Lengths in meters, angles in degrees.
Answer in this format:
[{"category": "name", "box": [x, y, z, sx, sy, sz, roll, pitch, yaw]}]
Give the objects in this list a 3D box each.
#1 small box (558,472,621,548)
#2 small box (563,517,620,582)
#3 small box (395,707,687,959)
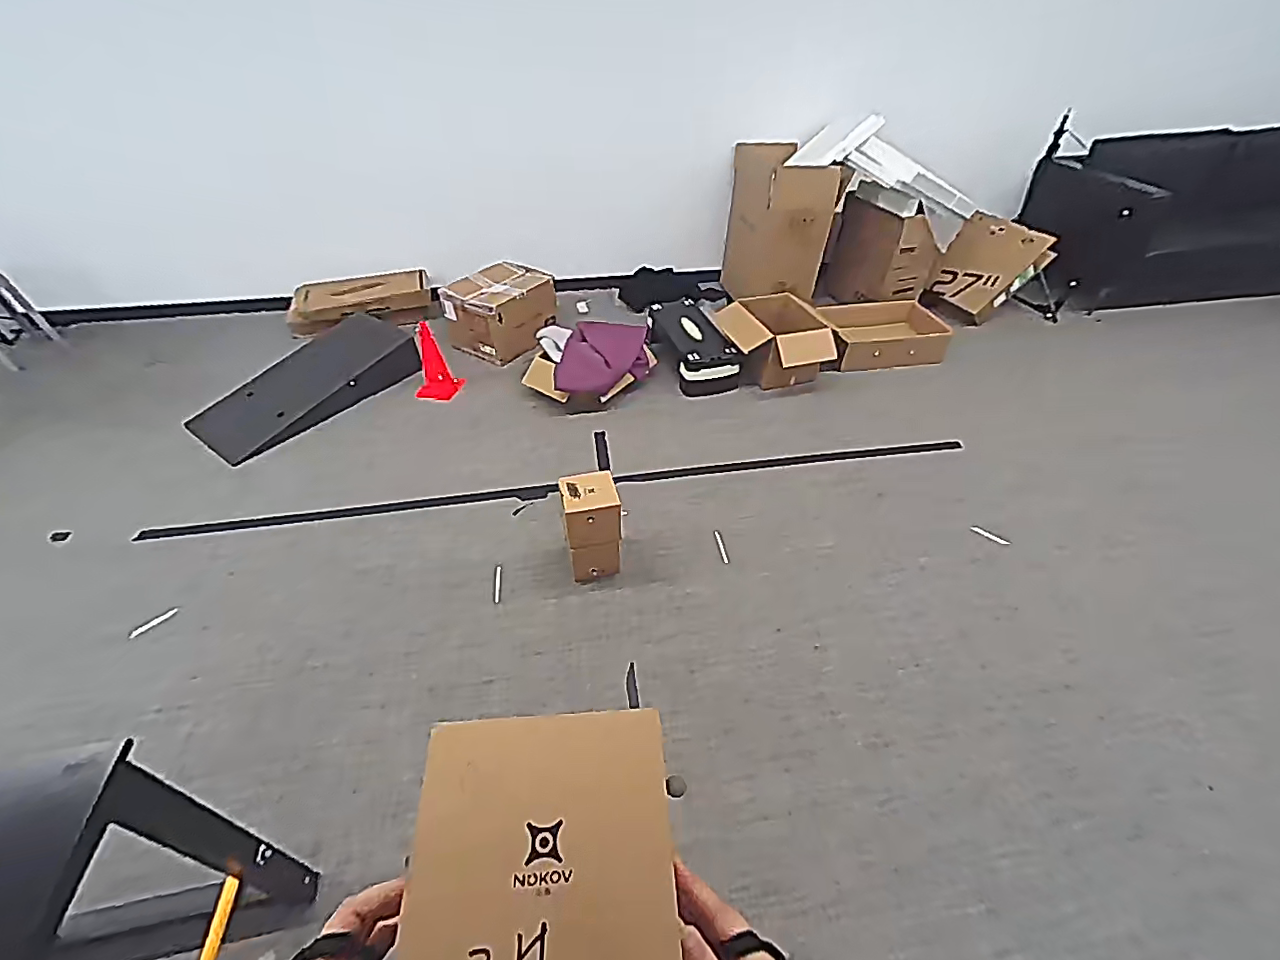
[{"category": "small box", "box": [-0.164, 0.101, 1.766, 0.179, 0.176, 0.168, -10, 44, -10]}, {"category": "small box", "box": [-0.169, 0.225, 1.876, 0.168, 0.176, 0.179, -12, 45, -11]}, {"category": "small box", "box": [-0.060, 0.287, 0.395, 0.168, 0.176, 0.179, -3, 49, -3]}]
